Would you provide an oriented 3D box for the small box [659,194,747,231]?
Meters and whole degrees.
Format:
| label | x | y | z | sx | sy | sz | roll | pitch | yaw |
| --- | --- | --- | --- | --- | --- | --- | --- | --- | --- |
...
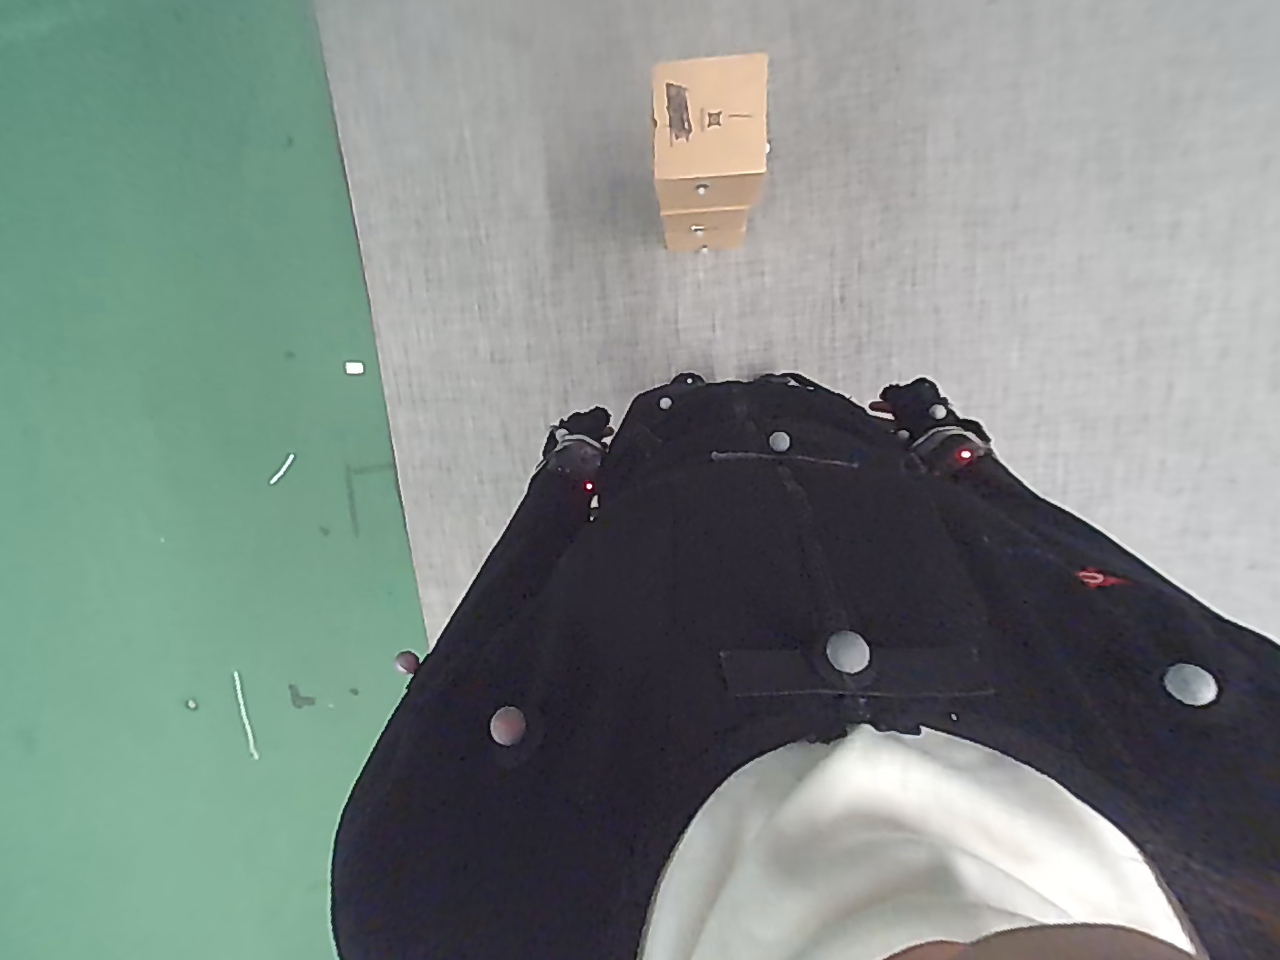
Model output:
| label | x | y | z | sx | sy | sz | roll | pitch | yaw |
| --- | --- | --- | --- | --- | --- | --- | --- | --- | --- |
| small box | 0.124 | -0.608 | 1.067 | 0.168 | 0.176 | 0.179 | -1 | 102 | 8 |

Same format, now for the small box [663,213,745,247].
| label | x | y | z | sx | sy | sz | roll | pitch | yaw |
| --- | --- | --- | --- | --- | --- | --- | --- | --- | --- |
| small box | 0.143 | -0.635 | 1.226 | 0.179 | 0.176 | 0.168 | 0 | 101 | 6 |

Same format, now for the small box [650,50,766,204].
| label | x | y | z | sx | sy | sz | roll | pitch | yaw |
| --- | --- | --- | --- | --- | --- | --- | --- | --- | --- |
| small box | 0.113 | -0.575 | 0.906 | 0.179 | 0.176 | 0.168 | 0 | 102 | 7 |
